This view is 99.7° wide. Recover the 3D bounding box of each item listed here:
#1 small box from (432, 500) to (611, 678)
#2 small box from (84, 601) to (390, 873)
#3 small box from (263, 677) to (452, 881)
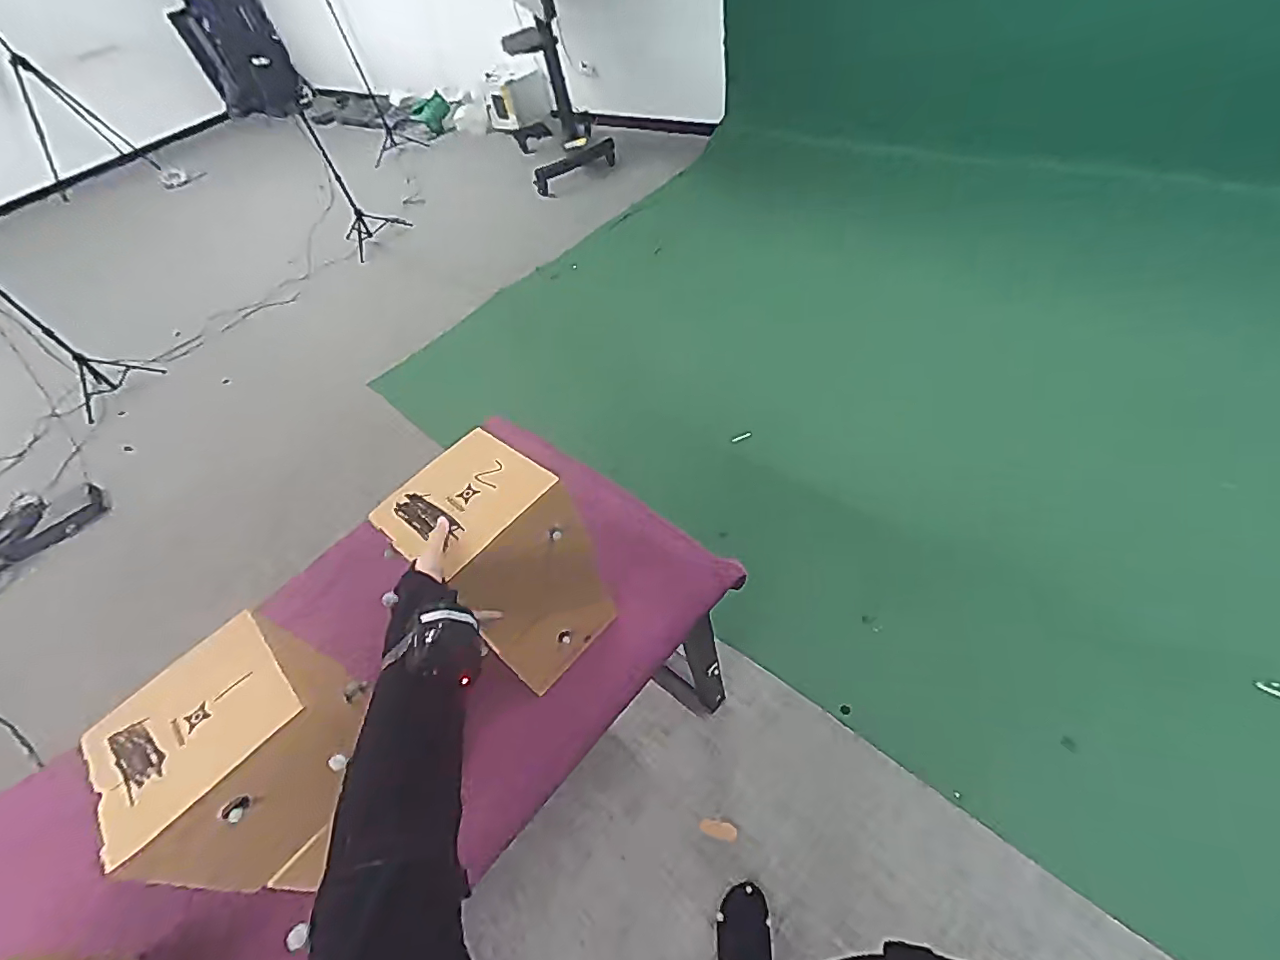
[{"bbox_3d":[-0.167,0.169,0.811,0.179,0.176,0.168,32,64,34],"label":"small box"},{"bbox_3d":[-0.408,0.270,0.568,0.168,0.176,0.179,32,64,34],"label":"small box"},{"bbox_3d":[-0.377,0.373,0.693,0.179,0.176,0.168,28,62,33],"label":"small box"}]
